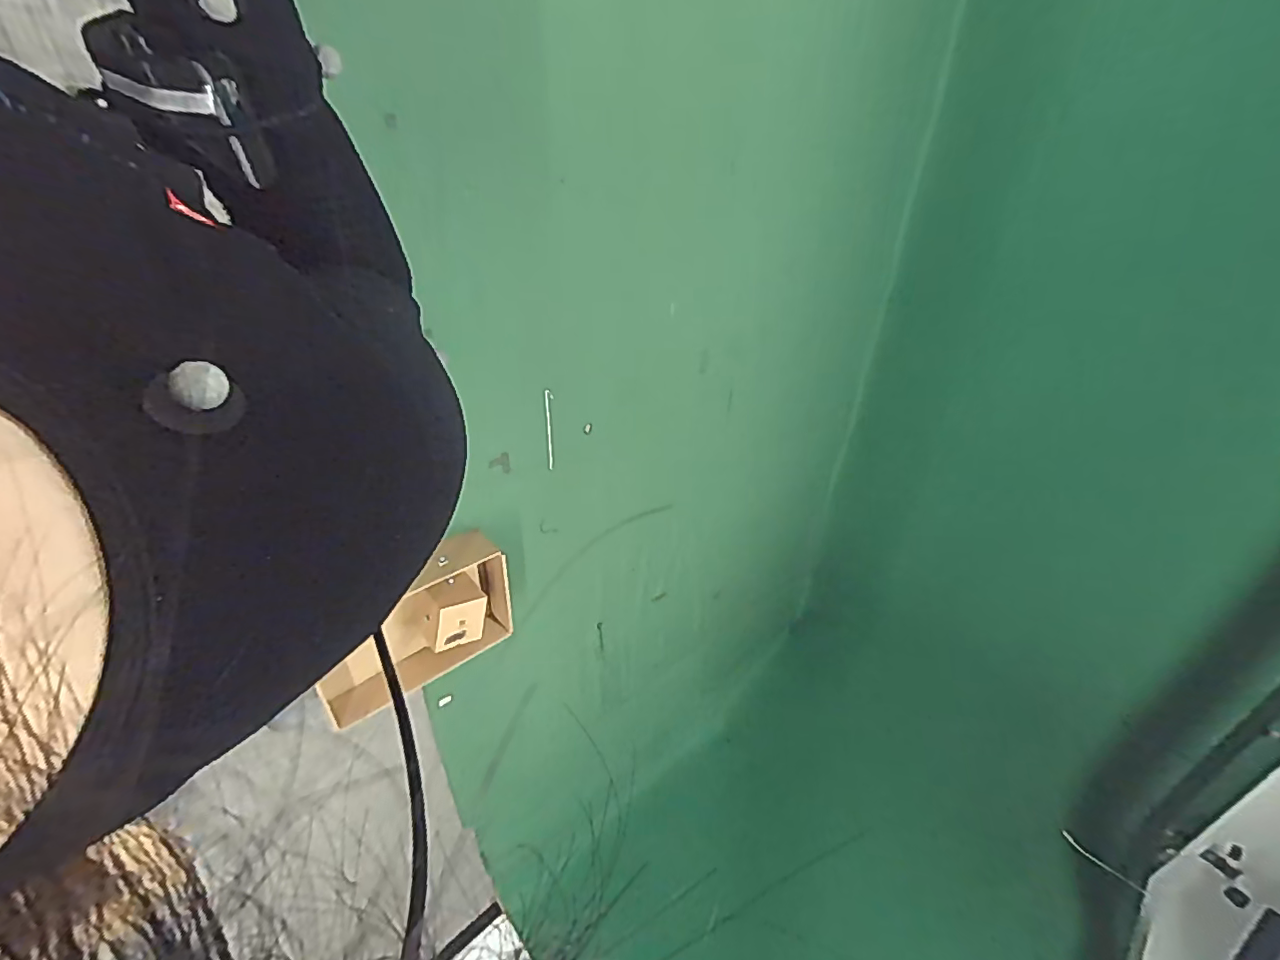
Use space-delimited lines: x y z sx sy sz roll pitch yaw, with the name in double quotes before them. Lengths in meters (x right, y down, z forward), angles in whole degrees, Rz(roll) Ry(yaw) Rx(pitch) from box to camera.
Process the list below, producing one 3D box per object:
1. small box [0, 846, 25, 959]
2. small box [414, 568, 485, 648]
"small box" -1.375 0.878 1.076 0.168 0.176 0.179 -13 123 -39
"small box" -0.643 0.424 1.809 0.168 0.176 0.179 -8 121 -45
